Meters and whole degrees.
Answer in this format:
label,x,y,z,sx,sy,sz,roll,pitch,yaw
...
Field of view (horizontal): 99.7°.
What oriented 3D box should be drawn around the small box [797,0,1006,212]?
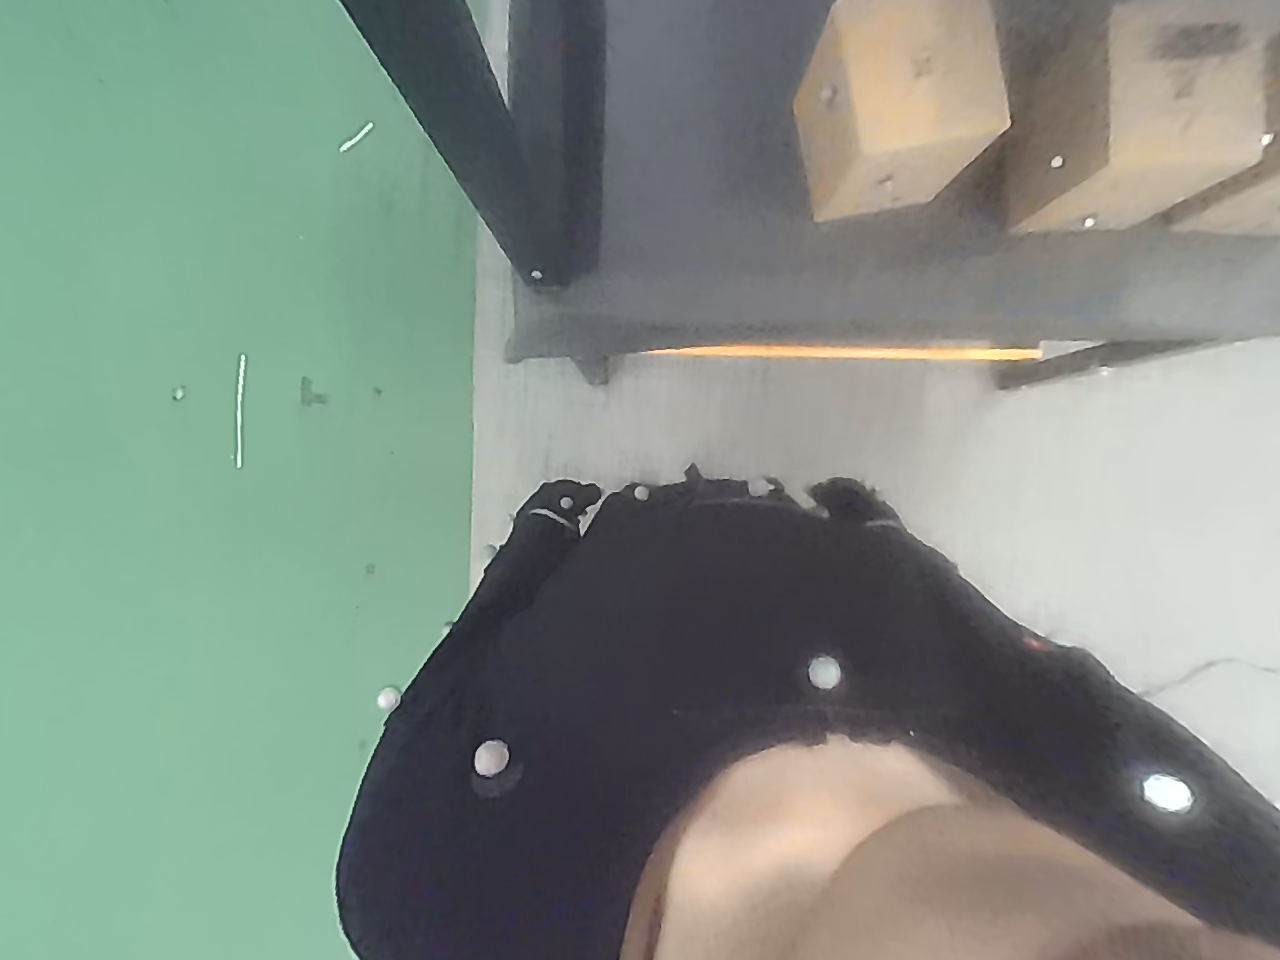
label,x,y,z,sx,sy,sz,roll,pitch,yaw
small box,0.306,-0.456,0.668,0.168,0.176,0.179,-10,90,1
